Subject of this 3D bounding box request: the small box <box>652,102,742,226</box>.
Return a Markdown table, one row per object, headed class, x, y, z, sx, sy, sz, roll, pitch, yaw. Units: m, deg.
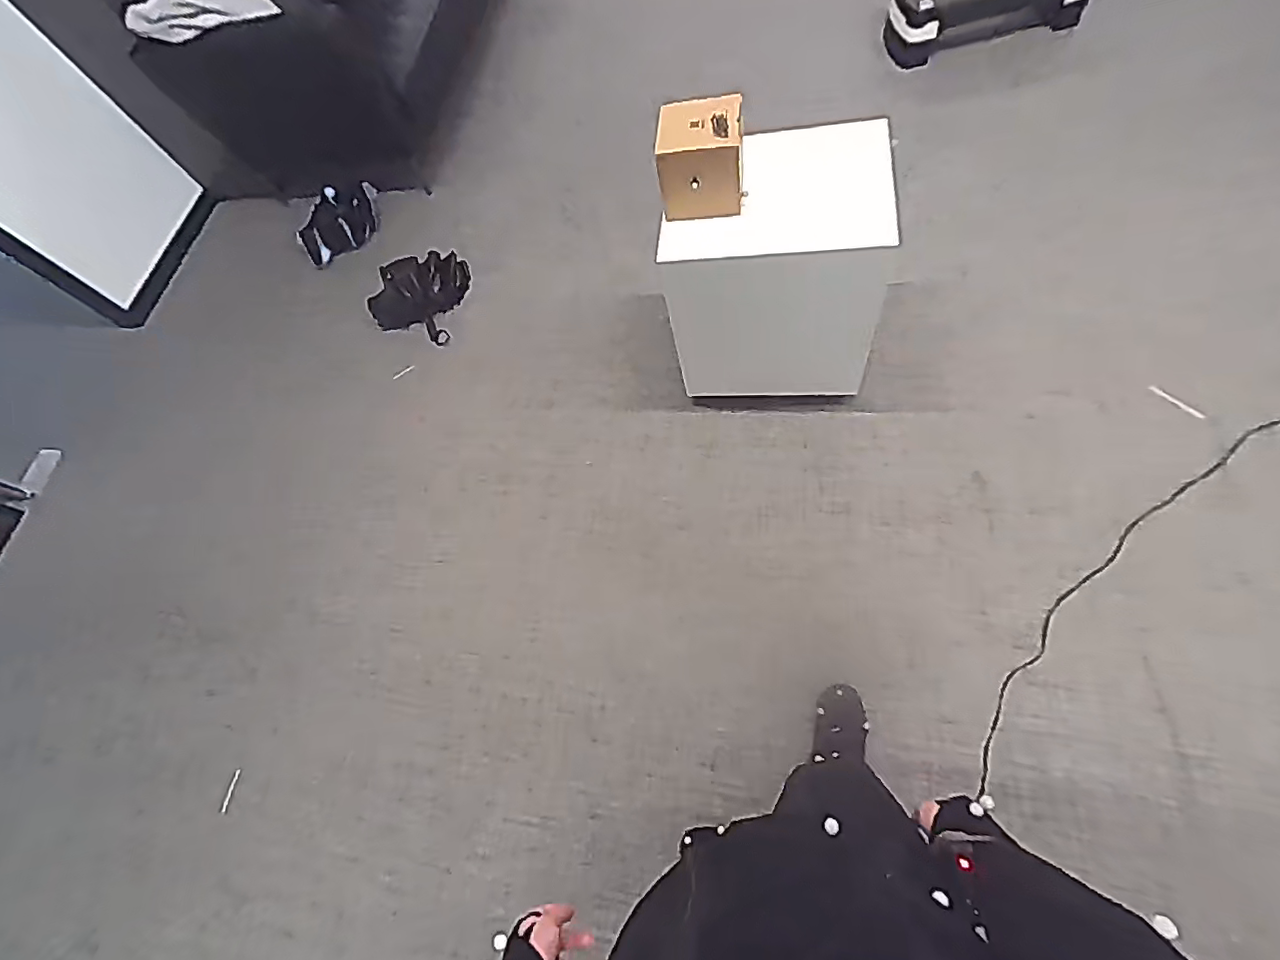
| class | x | y | z | sx | sy | sz | roll | pitch | yaw |
| --- | --- | --- | --- | --- | --- | --- | --- | --- | --- |
| small box | 0.135 | -0.695 | 1.206 | 0.179 | 0.176 | 0.168 | 1 | 65 | 14 |
